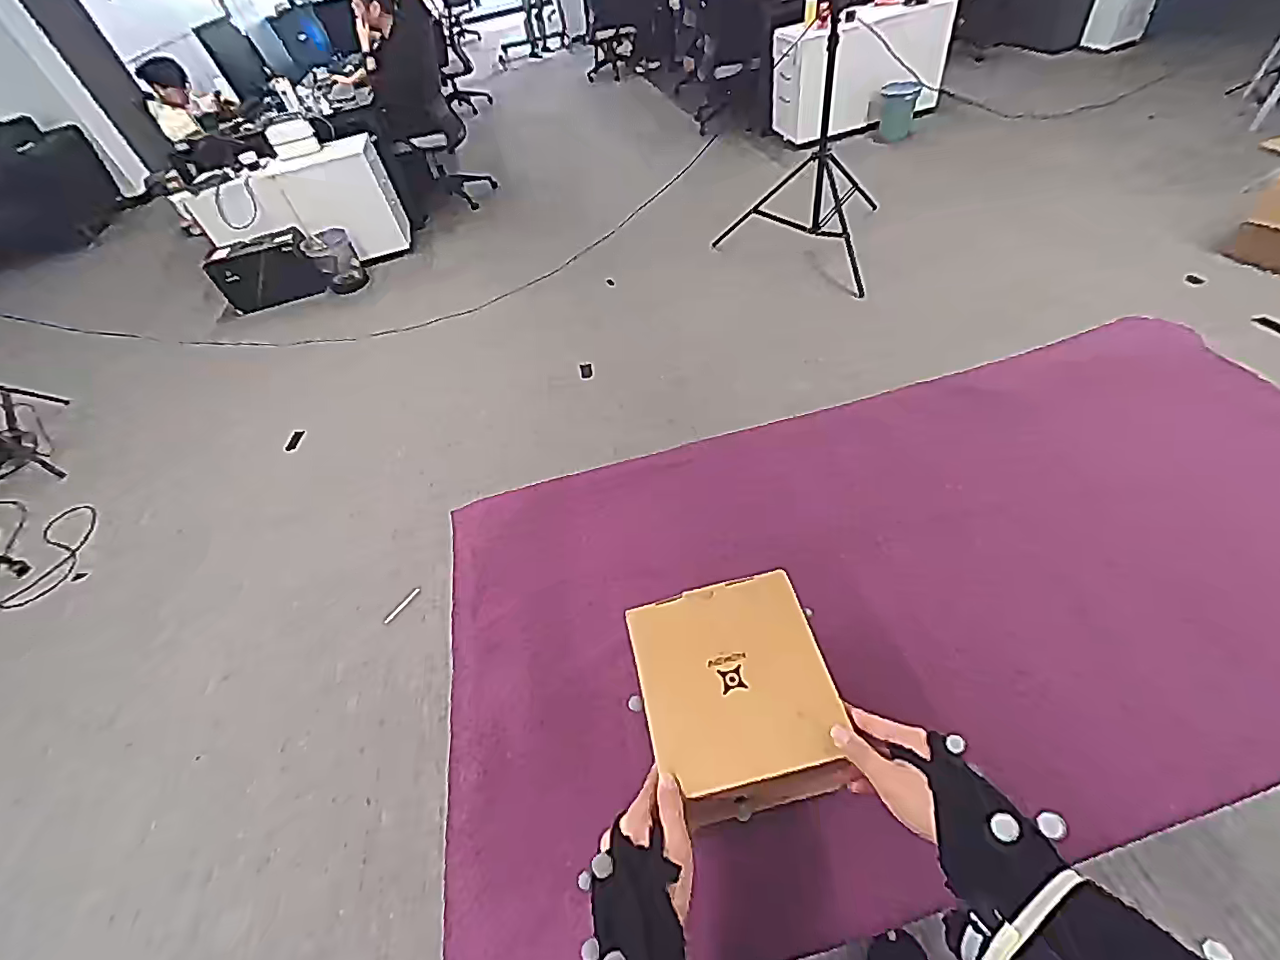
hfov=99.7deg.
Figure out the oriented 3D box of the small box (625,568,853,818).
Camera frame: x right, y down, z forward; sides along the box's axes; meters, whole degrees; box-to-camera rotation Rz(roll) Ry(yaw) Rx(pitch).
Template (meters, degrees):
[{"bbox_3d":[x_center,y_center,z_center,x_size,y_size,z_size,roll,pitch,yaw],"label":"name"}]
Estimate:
[{"bbox_3d":[0.094,0.221,0.546,0.168,0.176,0.179,-15,49,1],"label":"small box"}]
